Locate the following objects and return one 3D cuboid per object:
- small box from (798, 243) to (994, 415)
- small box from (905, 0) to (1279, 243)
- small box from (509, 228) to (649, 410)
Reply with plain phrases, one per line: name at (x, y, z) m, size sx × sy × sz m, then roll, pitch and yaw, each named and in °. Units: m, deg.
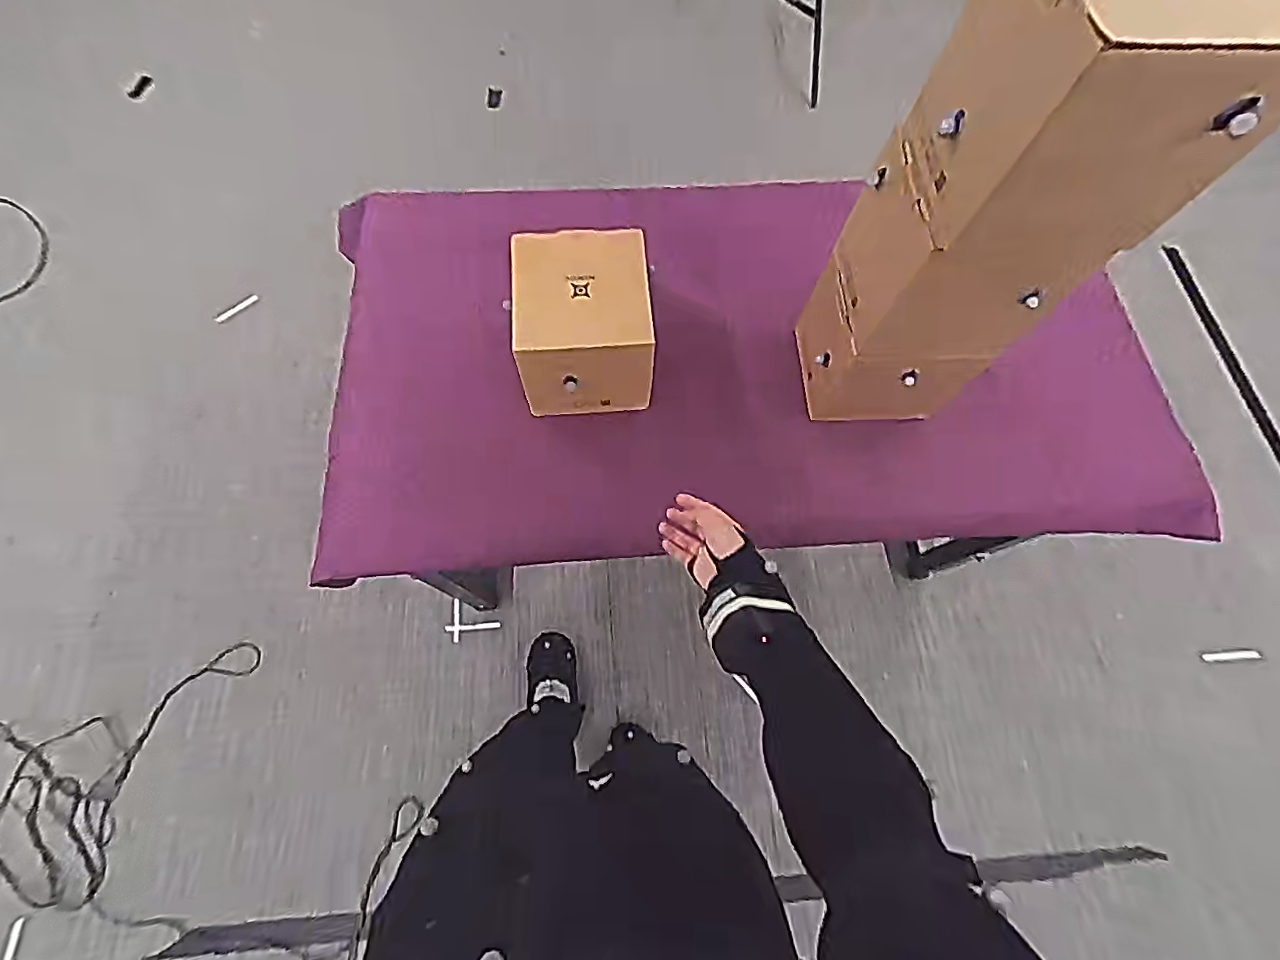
small box at (0.327, -0.197, 0.737) m, size 0.179 × 0.176 × 0.168 m, roll -2°, pitch 70°, yaw -3°
small box at (0.347, -0.310, 0.428) m, size 0.179 × 0.176 × 0.168 m, roll -2°, pitch 69°, yaw -3°
small box at (-0.077, -0.204, 0.725) m, size 0.168 × 0.176 × 0.179 m, roll -5°, pitch 69°, yaw -4°
